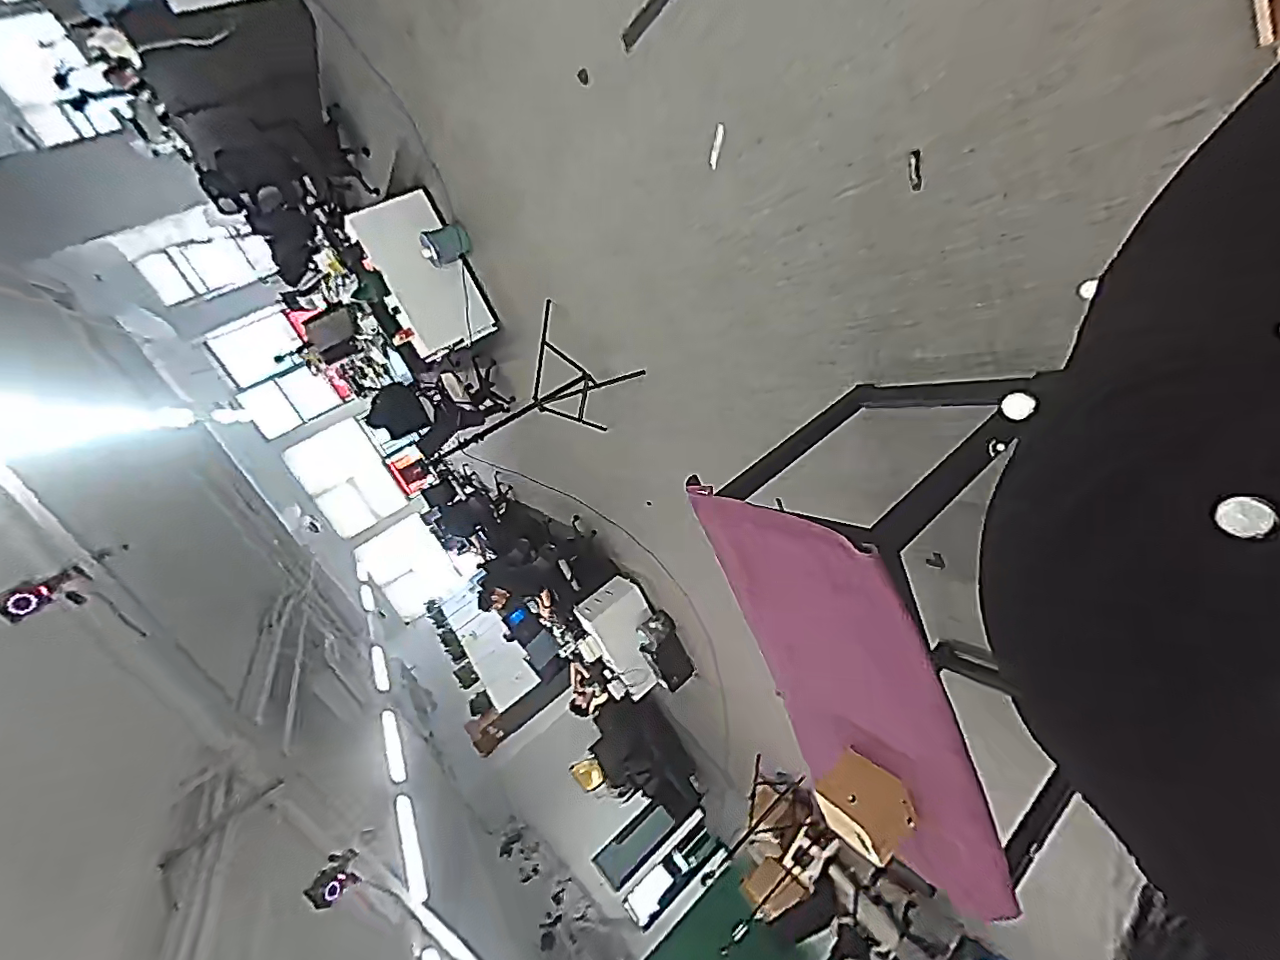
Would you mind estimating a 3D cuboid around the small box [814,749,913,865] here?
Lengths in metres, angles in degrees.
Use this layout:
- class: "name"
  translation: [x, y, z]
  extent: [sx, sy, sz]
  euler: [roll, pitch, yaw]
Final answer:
- class: "small box"
  translation: [0.617, 0.883, 1.479]
  extent: [0.179, 0.176, 0.168]
  euler: [13, 133, 60]
